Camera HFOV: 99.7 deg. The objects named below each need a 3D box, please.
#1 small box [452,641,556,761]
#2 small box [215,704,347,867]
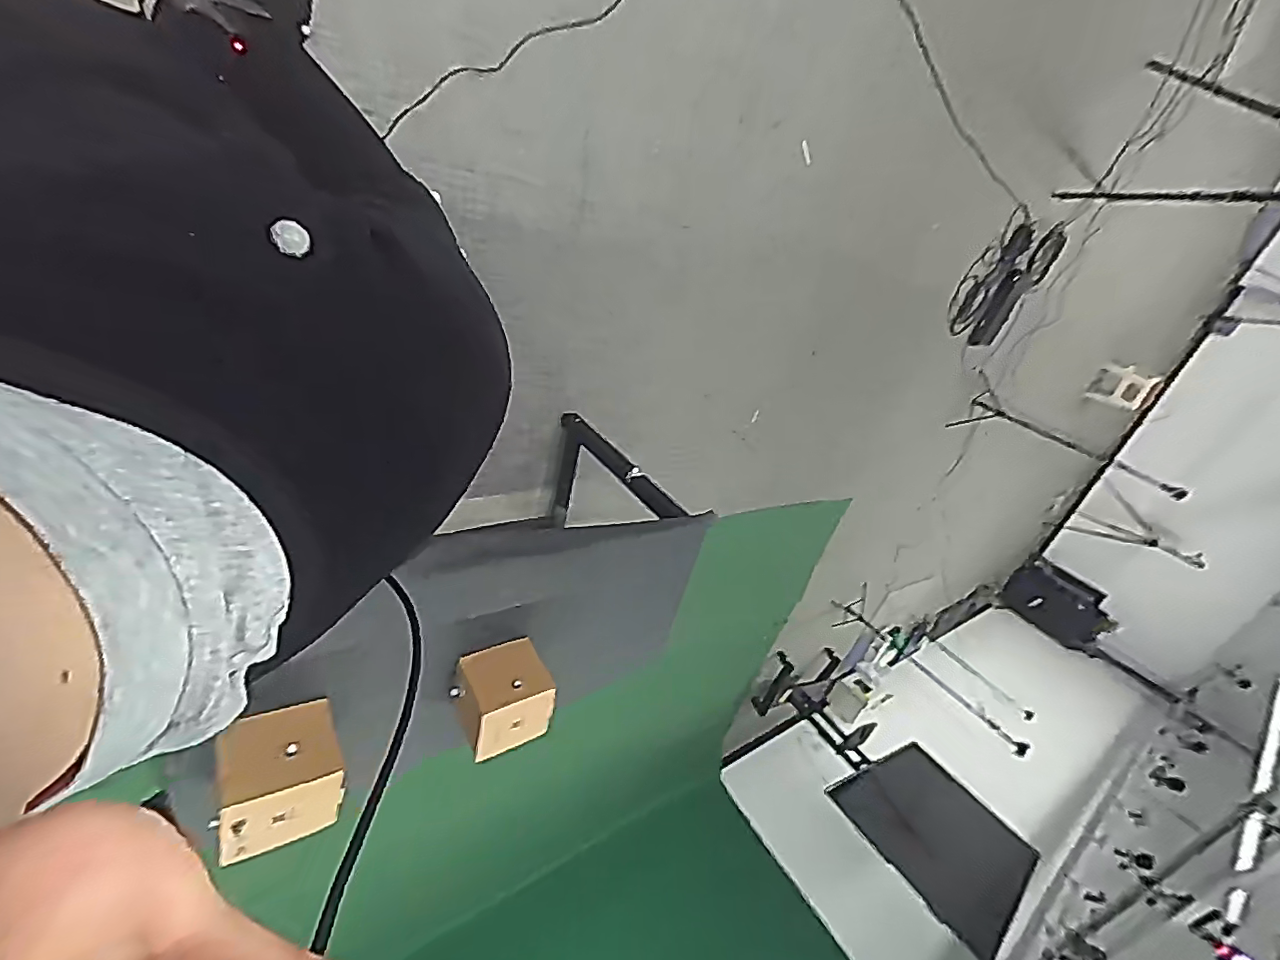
[{"bbox_3d":[-0.321,0.506,1.264,0.179,0.176,0.168,-8,125,-36],"label":"small box"},{"bbox_3d":[-0.662,0.546,0.994,0.179,0.176,0.168,-2,122,-41],"label":"small box"}]
